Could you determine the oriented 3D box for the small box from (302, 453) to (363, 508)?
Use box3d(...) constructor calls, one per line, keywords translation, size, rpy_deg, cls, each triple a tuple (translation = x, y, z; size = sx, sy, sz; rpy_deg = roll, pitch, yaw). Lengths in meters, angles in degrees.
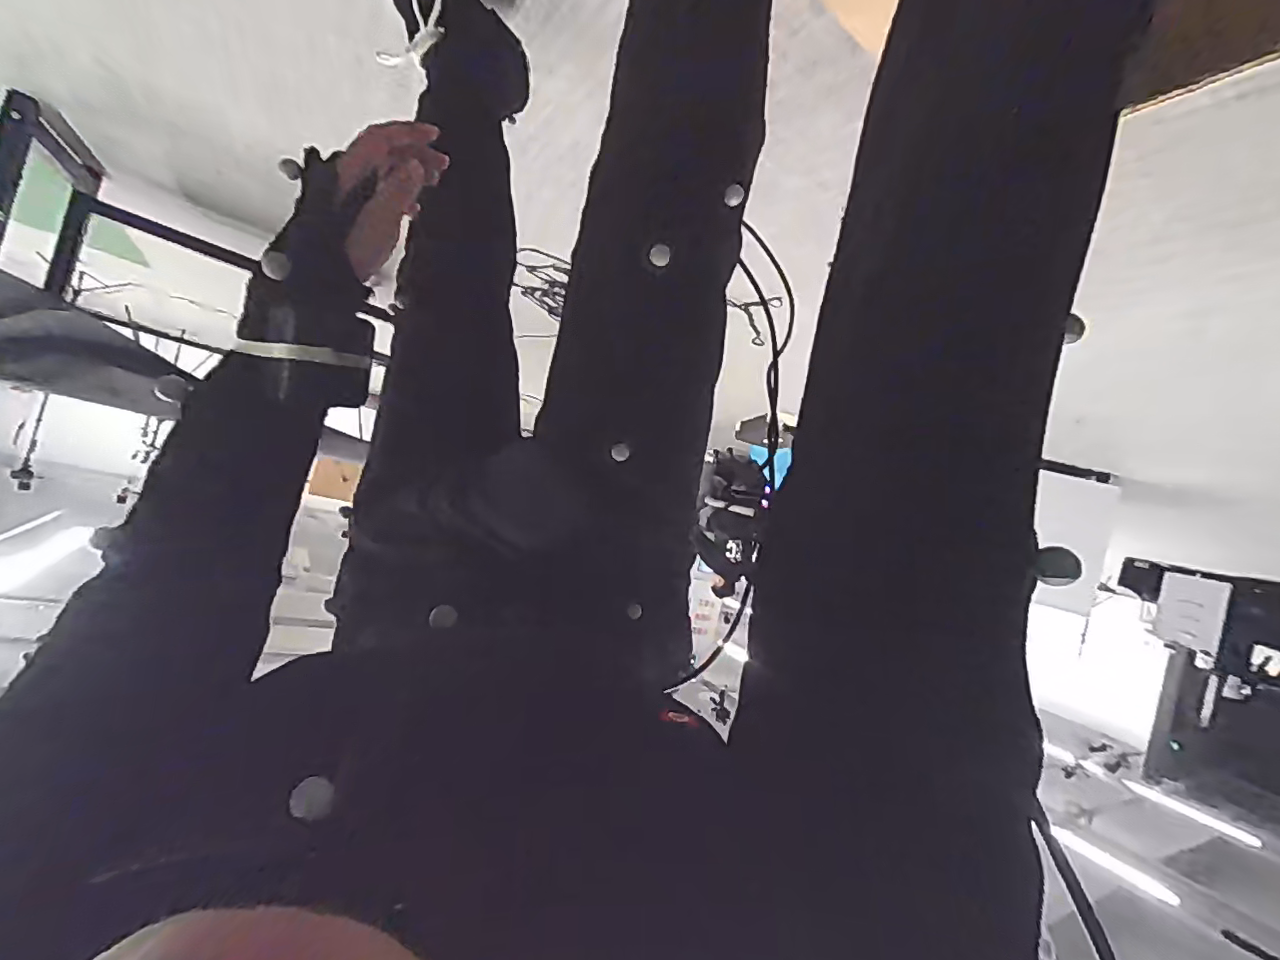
box3d(translation=(-1.160, -0.003, 2.038), size=(0.168, 0.176, 0.179), rpy_deg=(16, 178, -32), cls="small box")
